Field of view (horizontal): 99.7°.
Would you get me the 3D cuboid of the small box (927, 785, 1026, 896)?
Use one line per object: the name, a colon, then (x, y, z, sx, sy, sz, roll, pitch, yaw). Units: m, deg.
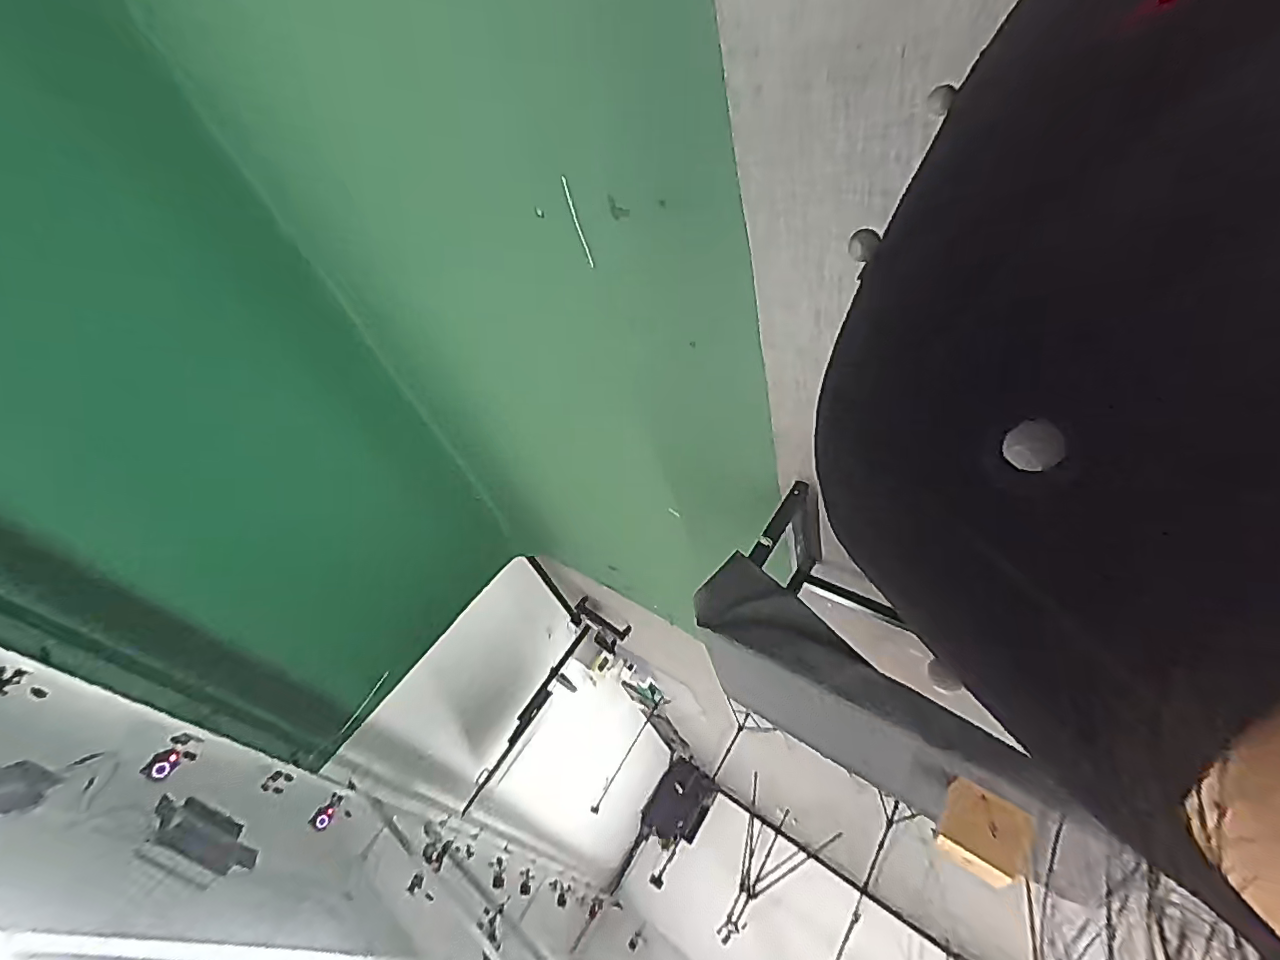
small box: (0.867, 0.923, 1.393, 0.168, 0.176, 0.179, 22, 149, 32)
